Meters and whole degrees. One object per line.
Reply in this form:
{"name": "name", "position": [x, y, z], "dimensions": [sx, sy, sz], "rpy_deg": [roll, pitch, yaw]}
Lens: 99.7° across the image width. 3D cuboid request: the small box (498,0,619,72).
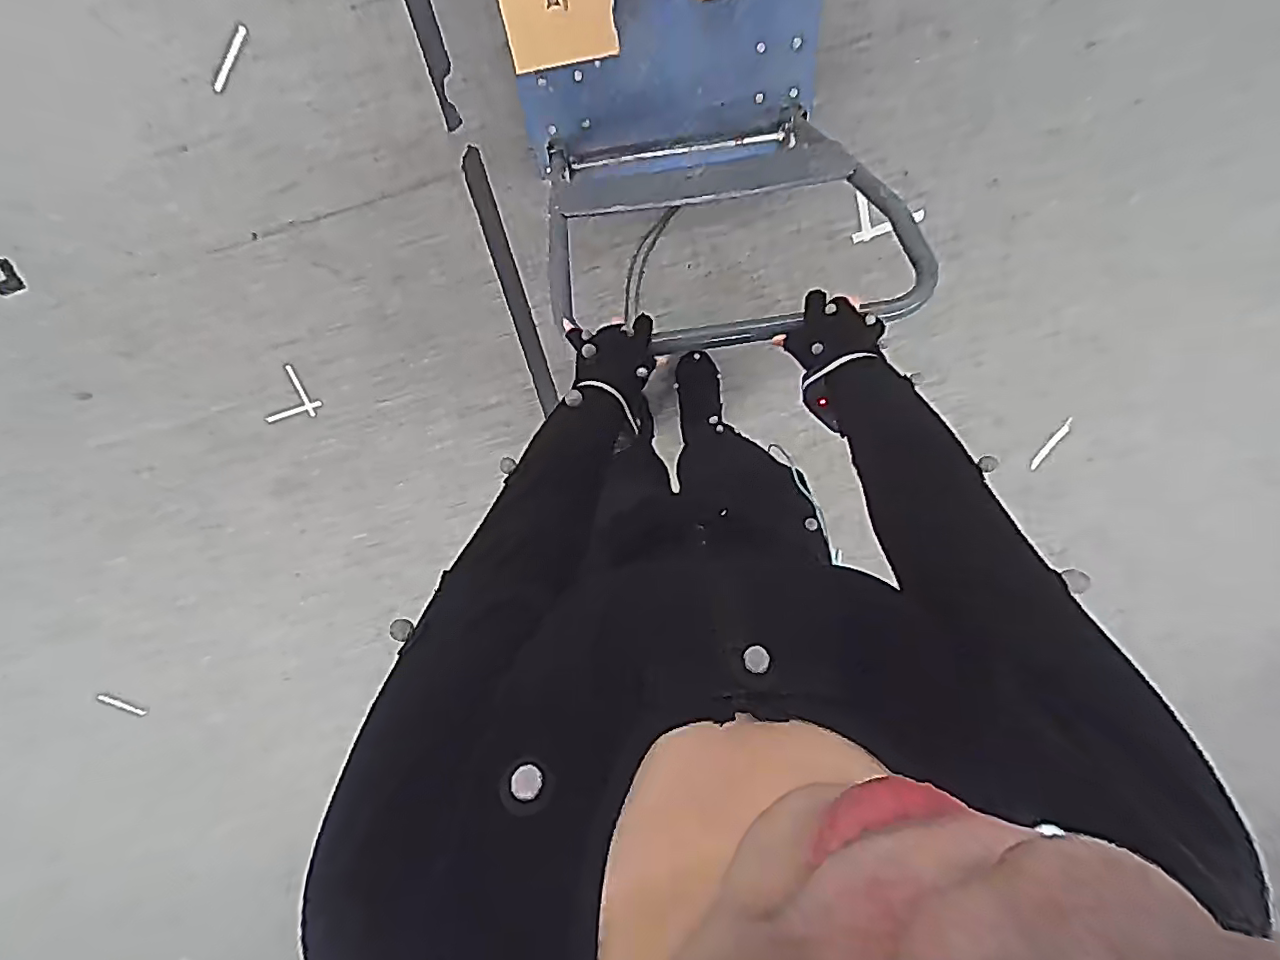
{"name": "small box", "position": [-0.138, -0.793, 0.888], "dimensions": [0.179, 0.176, 0.168], "rpy_deg": [-11, 133, 2]}
